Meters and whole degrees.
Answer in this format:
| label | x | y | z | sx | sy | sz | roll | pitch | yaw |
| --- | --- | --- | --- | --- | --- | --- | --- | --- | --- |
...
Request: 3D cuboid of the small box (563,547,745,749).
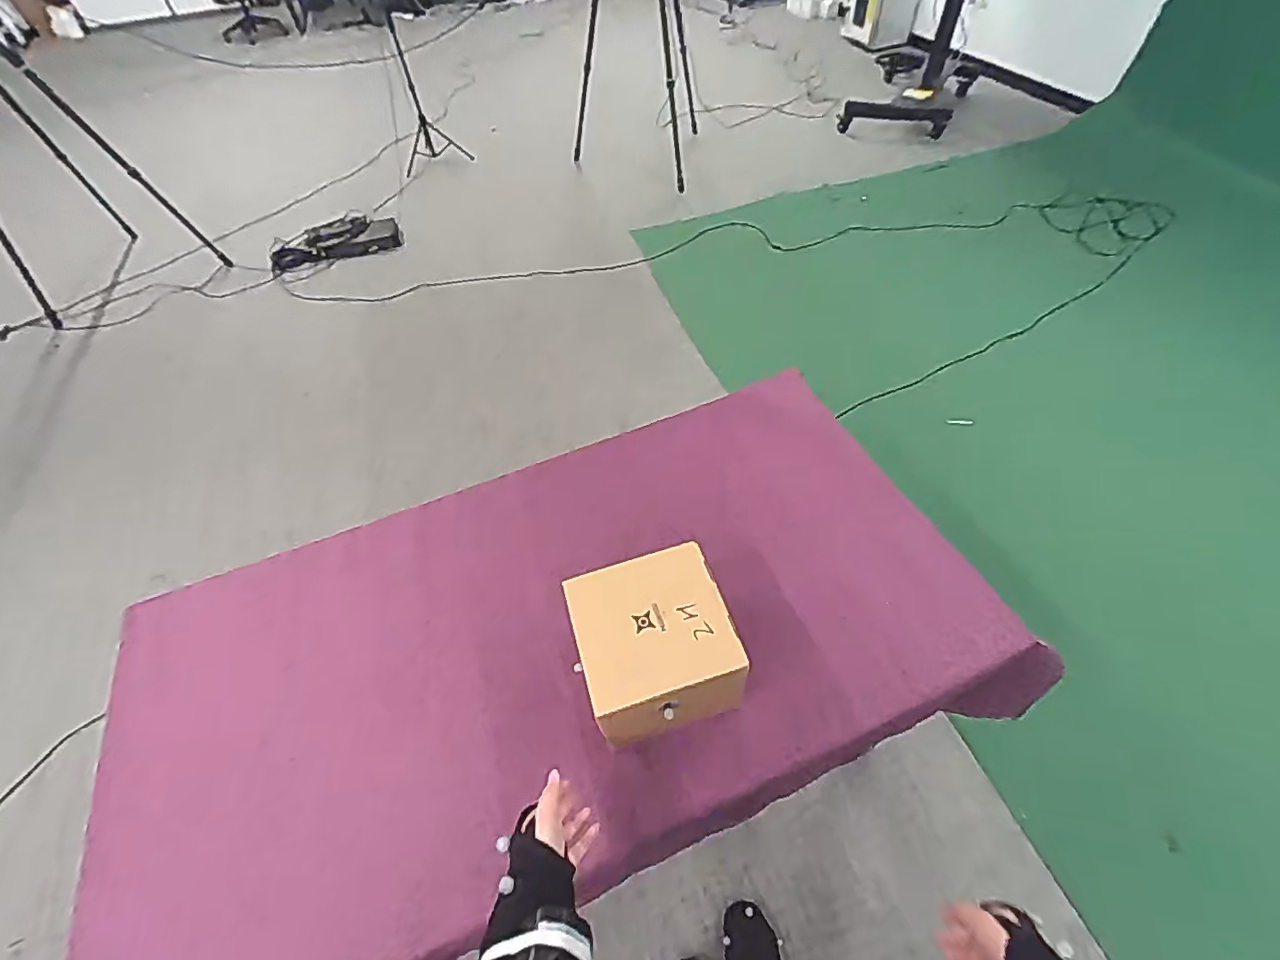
| label | x | y | z | sx | sy | sz | roll | pitch | yaw |
| --- | --- | --- | --- | --- | --- | --- | --- | --- | --- |
| small box | 0.017 | 0.216 | 0.681 | 0.179 | 0.176 | 0.168 | -16 | 53 | -7 |
